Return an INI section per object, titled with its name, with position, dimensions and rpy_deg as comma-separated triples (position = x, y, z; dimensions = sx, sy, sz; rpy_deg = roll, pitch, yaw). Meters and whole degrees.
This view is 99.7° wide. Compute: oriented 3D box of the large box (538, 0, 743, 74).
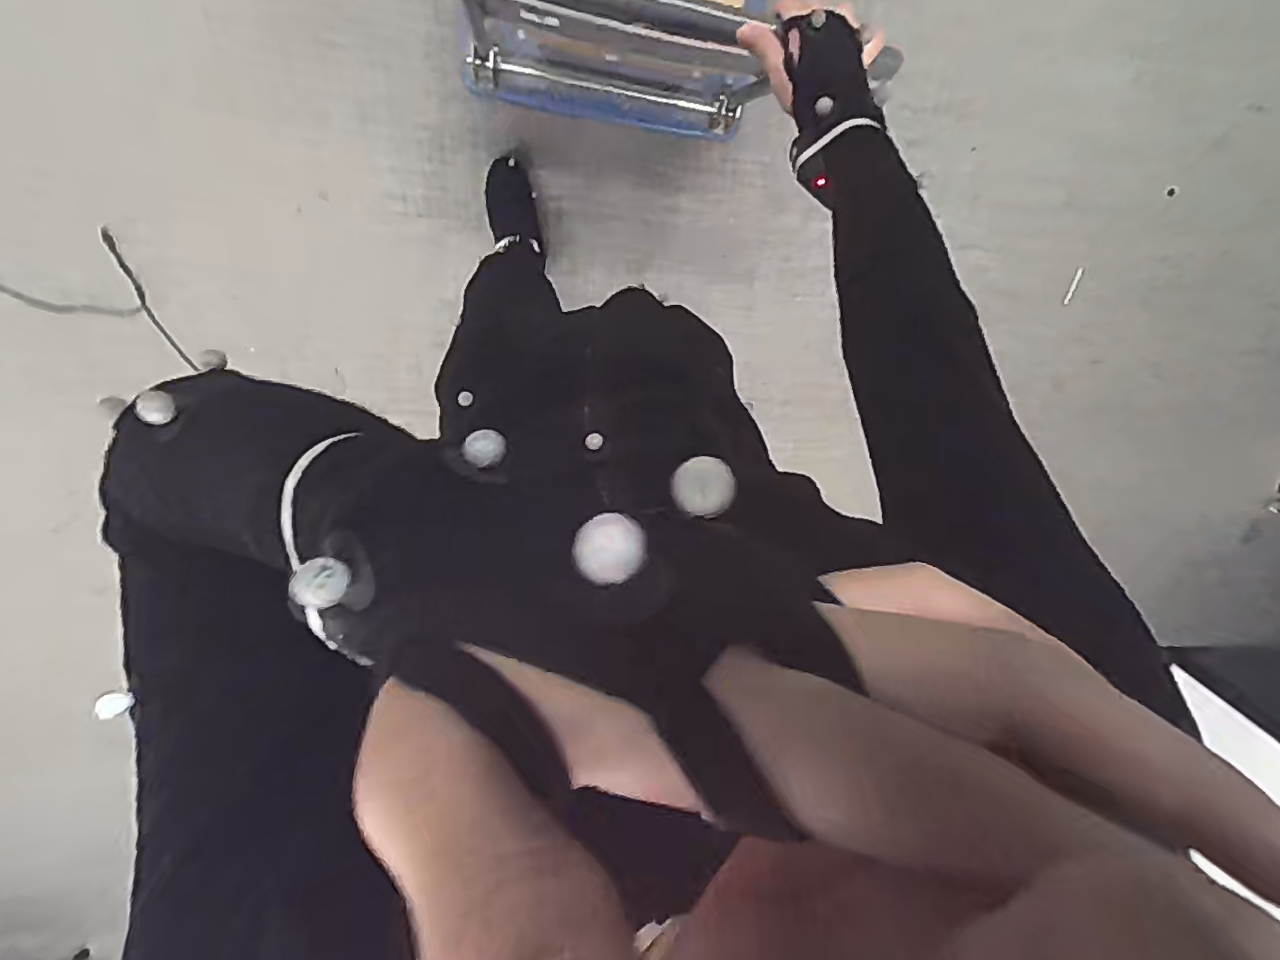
[large box]
position = 0.001, -0.932, 0.849
dimensions = 0.320, 0.320, 0.408
rpy_deg = 3, 117, -12
